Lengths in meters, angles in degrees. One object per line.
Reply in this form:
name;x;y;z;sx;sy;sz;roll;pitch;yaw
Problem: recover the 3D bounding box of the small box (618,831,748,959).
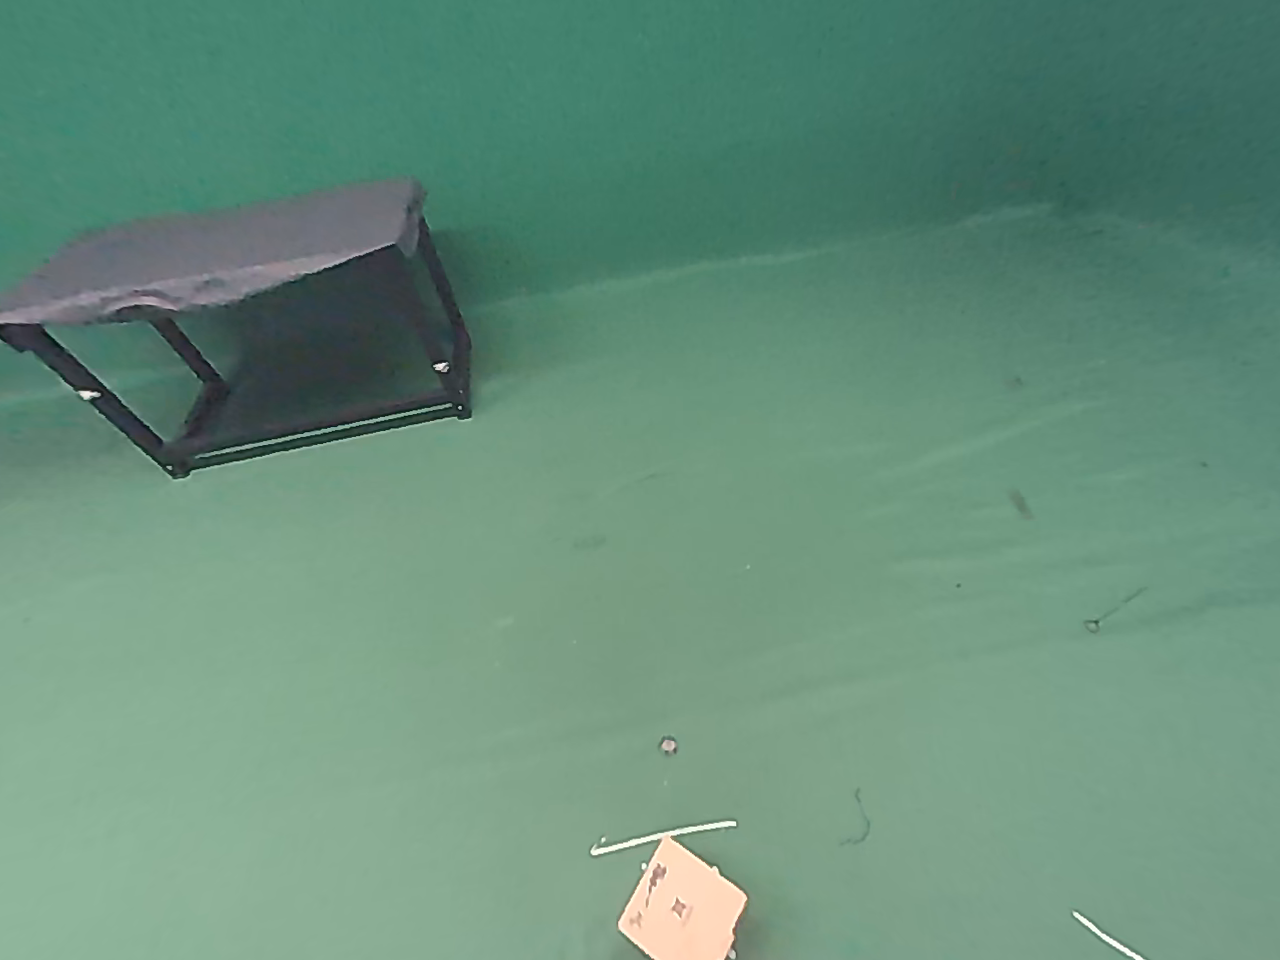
small box;0.083;0.797;1.004;0.179;0.176;0.168;24;55;26
